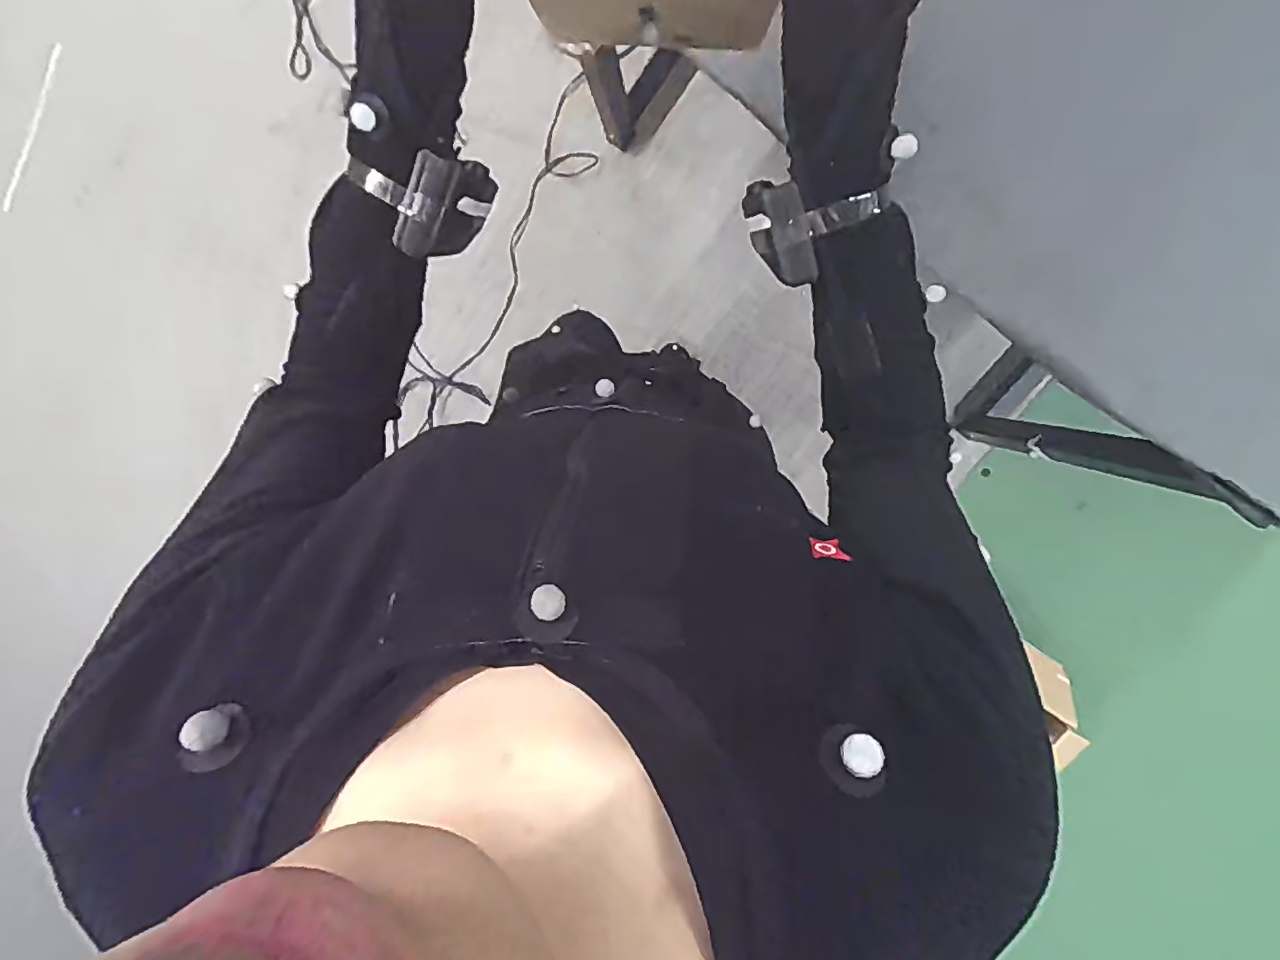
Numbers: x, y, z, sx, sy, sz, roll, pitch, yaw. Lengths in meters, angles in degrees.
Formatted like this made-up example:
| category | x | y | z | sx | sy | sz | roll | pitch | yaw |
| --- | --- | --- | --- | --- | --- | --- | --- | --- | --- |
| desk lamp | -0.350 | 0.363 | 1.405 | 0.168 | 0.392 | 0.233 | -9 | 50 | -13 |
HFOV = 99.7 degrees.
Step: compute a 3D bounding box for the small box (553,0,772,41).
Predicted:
| category | x | y | z | sx | sy | sz | roll | pitch | yaw |
| --- | --- | --- | --- | --- | --- | --- | --- | --- | --- |
| small box | 0.014 | -0.395 | 0.306 | 0.168 | 0.176 | 0.179 | 5 | 111 | 1 |
